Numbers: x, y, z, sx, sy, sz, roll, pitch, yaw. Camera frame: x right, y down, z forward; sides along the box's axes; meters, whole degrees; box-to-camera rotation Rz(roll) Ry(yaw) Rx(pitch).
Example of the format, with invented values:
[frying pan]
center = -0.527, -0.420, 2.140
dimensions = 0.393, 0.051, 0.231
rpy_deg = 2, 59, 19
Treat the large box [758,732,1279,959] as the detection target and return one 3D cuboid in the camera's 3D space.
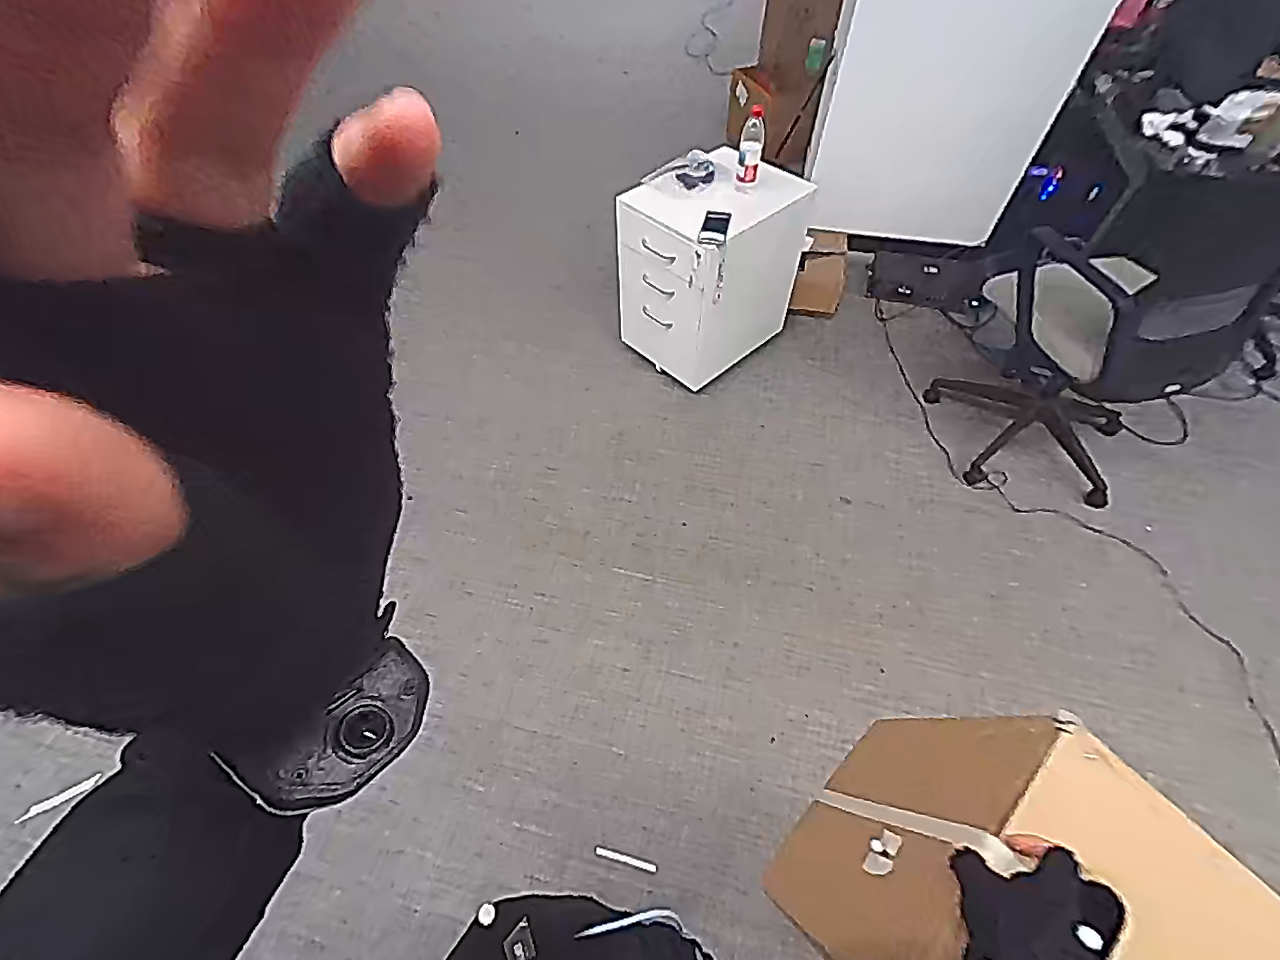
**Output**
[large box]
center = 0.398, 0.522, 0.609
dimensions = 0.320, 0.408, 0.320
rpy_deg = -41, 76, -20
